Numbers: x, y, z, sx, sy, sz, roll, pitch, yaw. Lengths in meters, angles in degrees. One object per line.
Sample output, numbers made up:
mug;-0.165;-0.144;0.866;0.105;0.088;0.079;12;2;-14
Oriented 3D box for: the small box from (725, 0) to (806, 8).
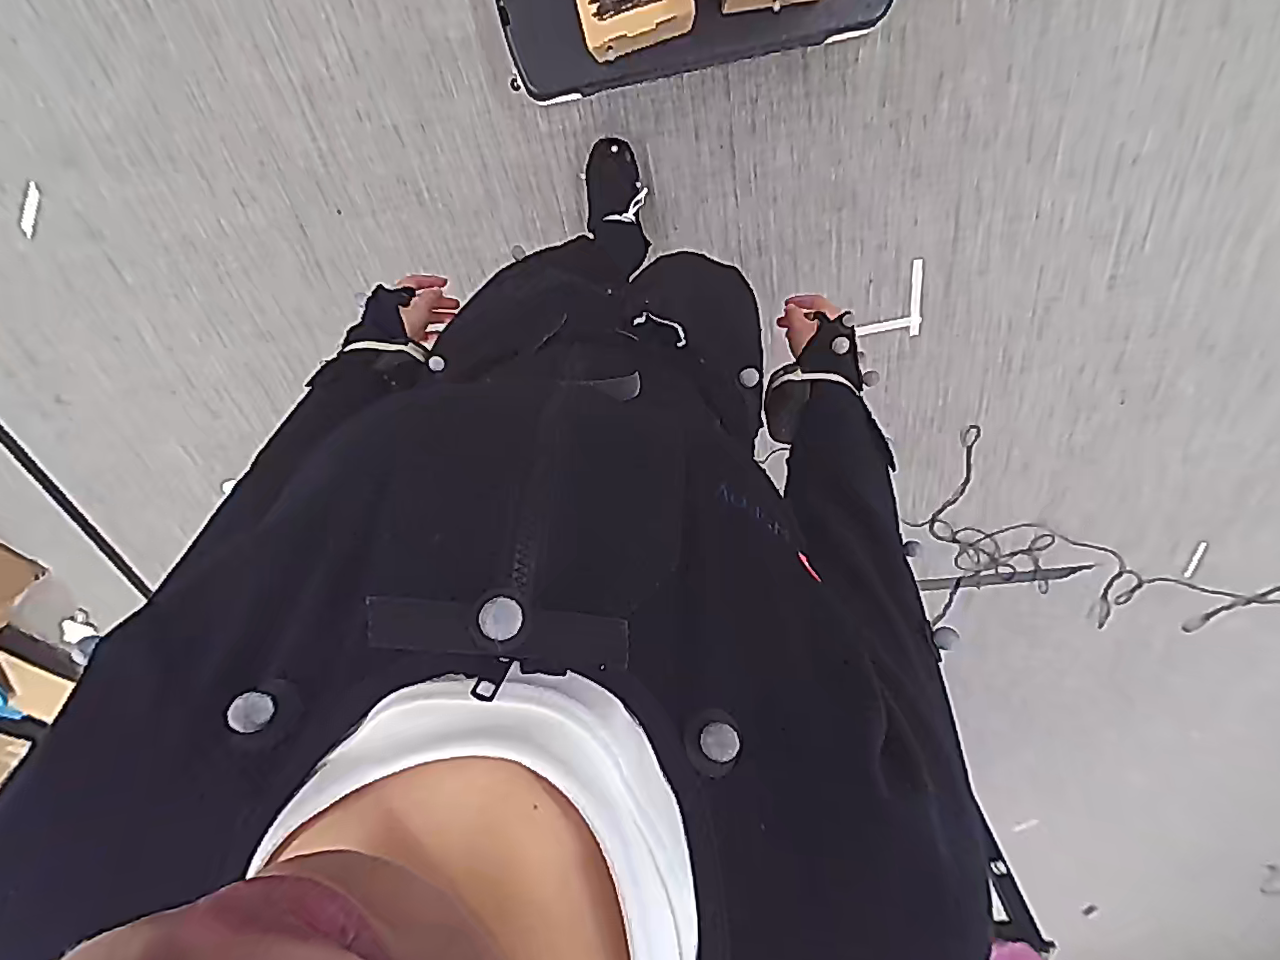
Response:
small box;0.206;-0.812;0.780;0.168;0.176;0.179;-4;123;4
